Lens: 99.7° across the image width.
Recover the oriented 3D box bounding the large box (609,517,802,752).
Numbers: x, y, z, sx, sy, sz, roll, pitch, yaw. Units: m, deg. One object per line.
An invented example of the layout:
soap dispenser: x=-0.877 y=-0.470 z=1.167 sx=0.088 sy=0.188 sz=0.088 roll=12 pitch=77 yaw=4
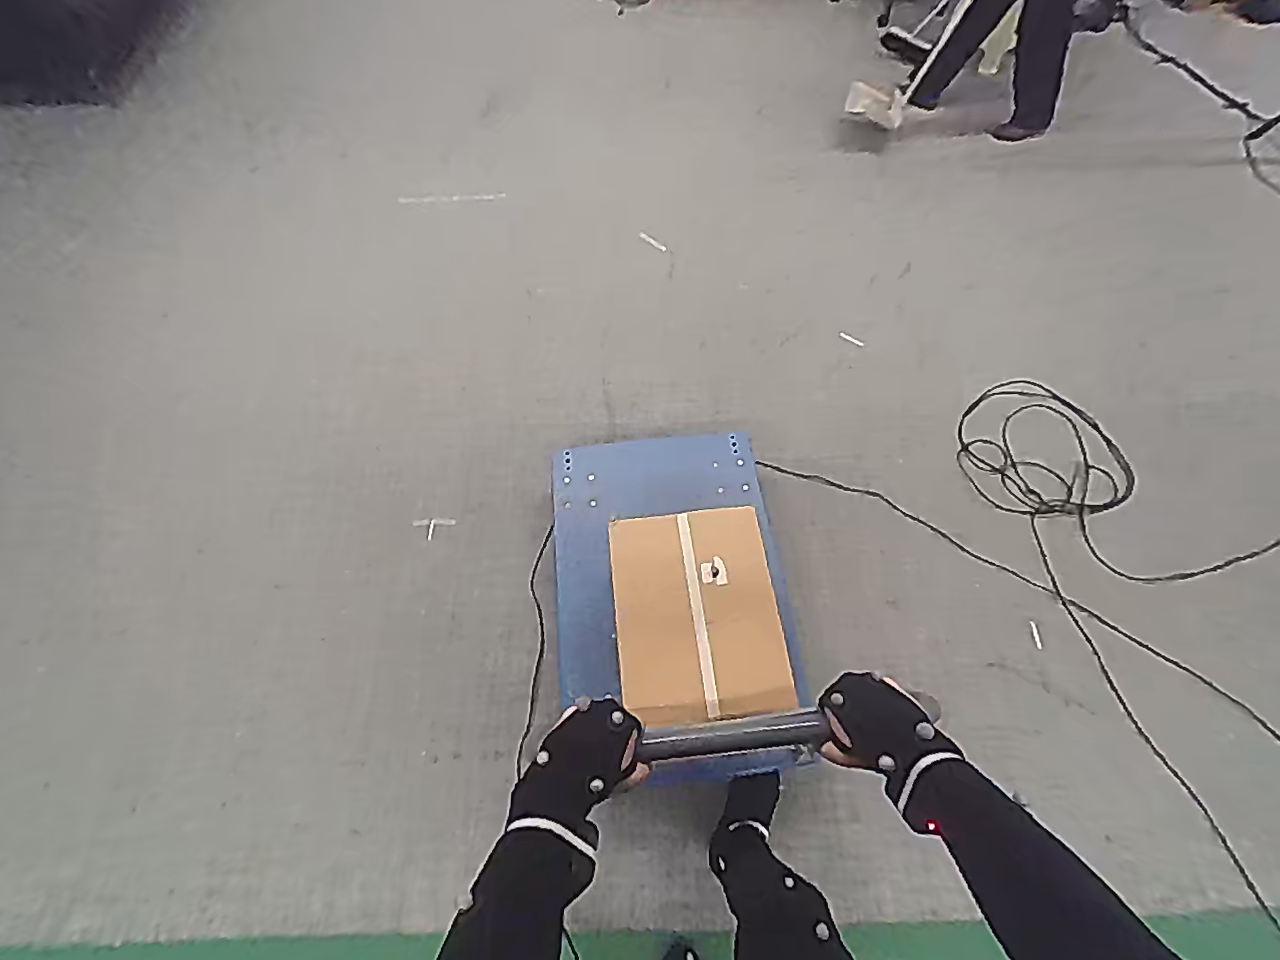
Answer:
large box: x=0.117 y=0.341 z=1.173 sx=0.320 sy=0.320 sz=0.408 roll=-6 pitch=60 yaw=-3
